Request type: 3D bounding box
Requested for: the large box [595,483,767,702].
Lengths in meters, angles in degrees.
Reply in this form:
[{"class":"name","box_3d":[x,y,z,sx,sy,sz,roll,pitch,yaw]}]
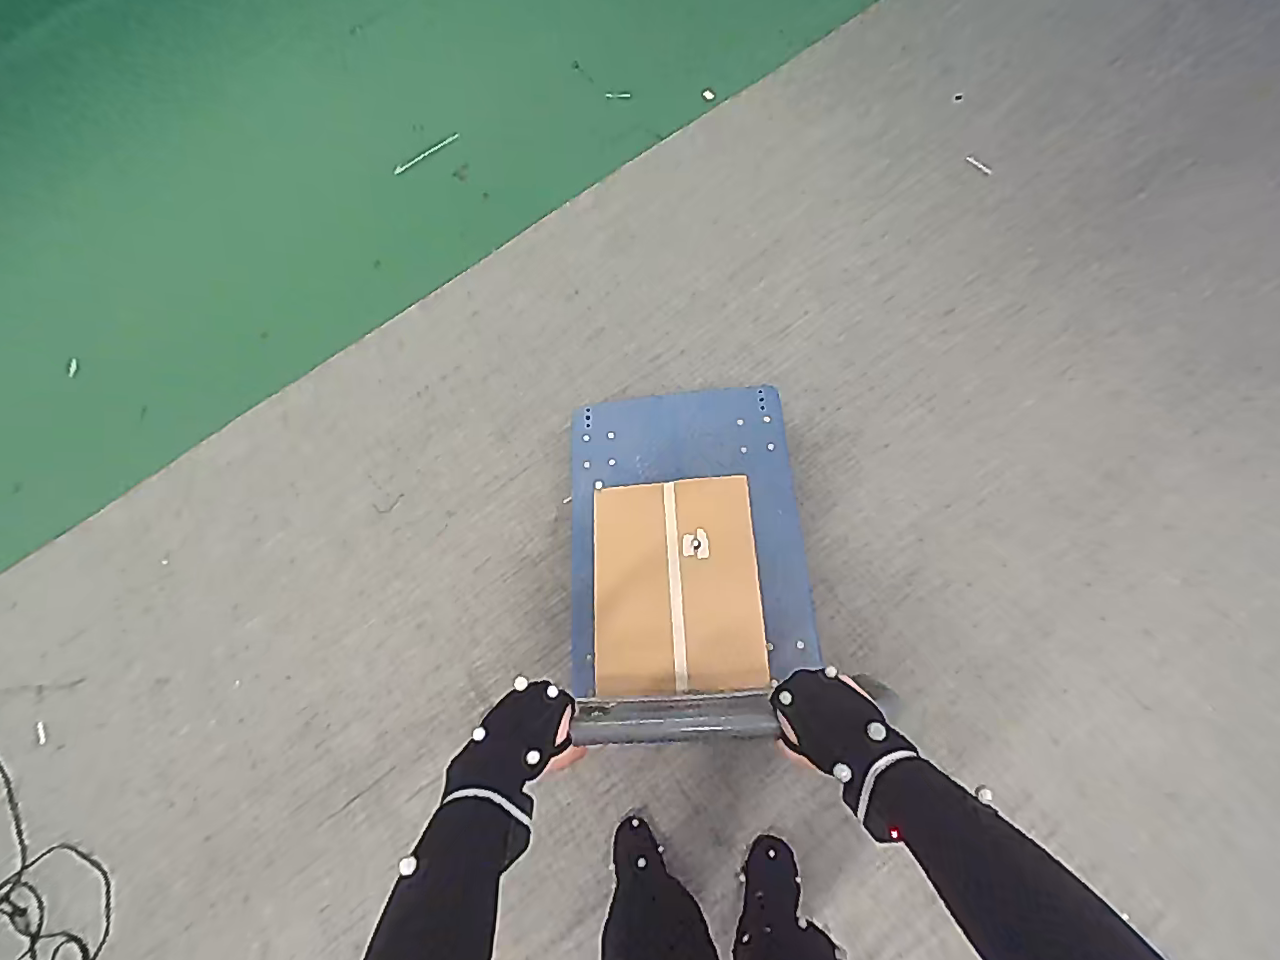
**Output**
[{"class":"large box","box_3d":[0.089,0.260,1.181,0.320,0.320,0.408,-5,67,7]}]
